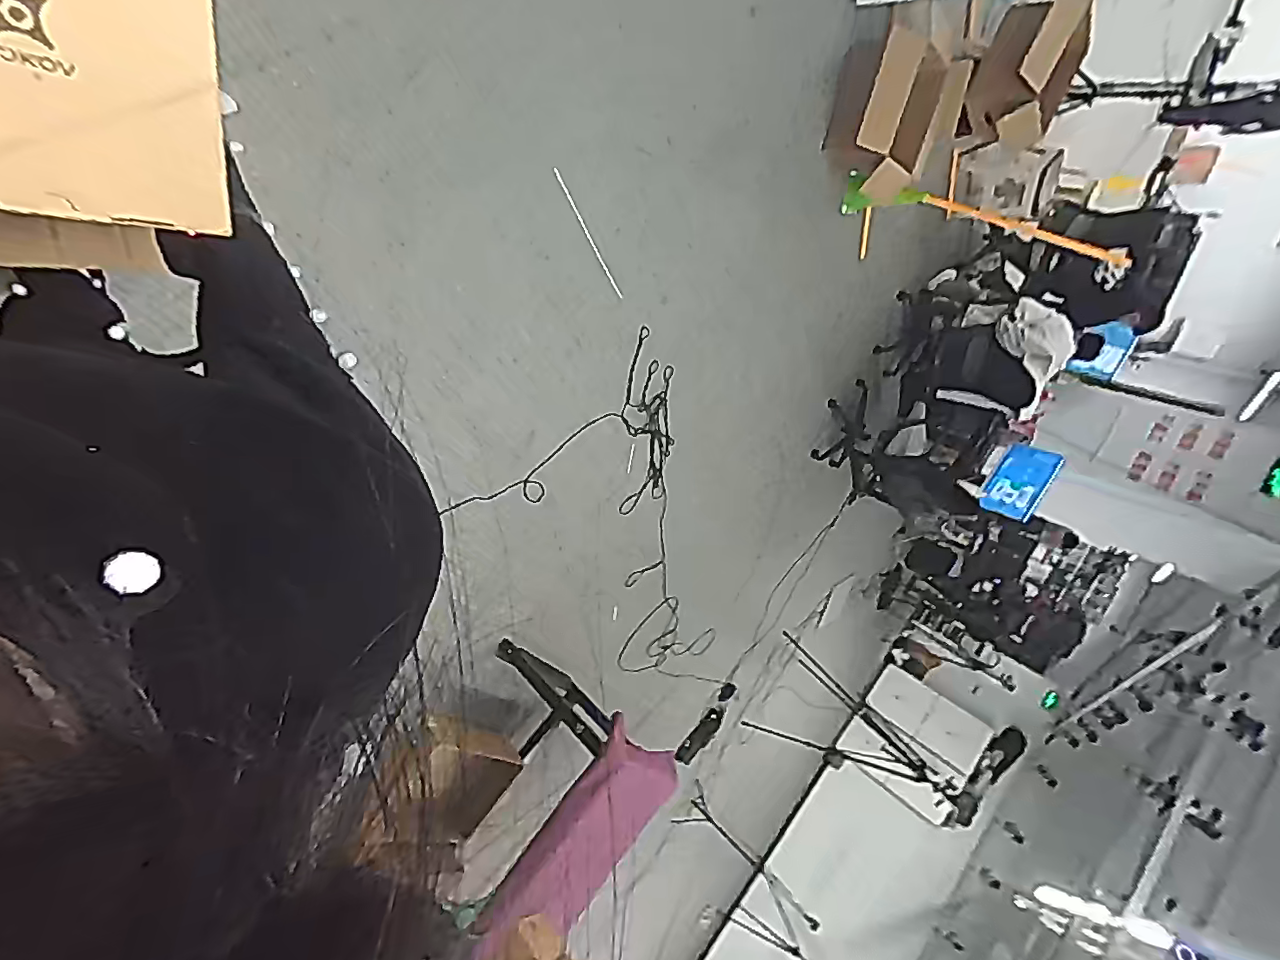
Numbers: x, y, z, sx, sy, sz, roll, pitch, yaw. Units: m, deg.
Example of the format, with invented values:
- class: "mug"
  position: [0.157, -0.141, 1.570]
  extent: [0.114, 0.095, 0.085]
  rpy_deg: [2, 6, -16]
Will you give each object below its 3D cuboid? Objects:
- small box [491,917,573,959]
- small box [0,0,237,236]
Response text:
- class: "small box"
  position: [-0.354, 1.538, 1.711]
  extent: [0.168, 0.176, 0.179]
  rpy_deg: [-52, 143, -10]
- class: "small box"
  position: [-0.362, -0.261, 0.311]
  extent: [0.168, 0.176, 0.179]
  rpy_deg: [-15, 128, -48]
